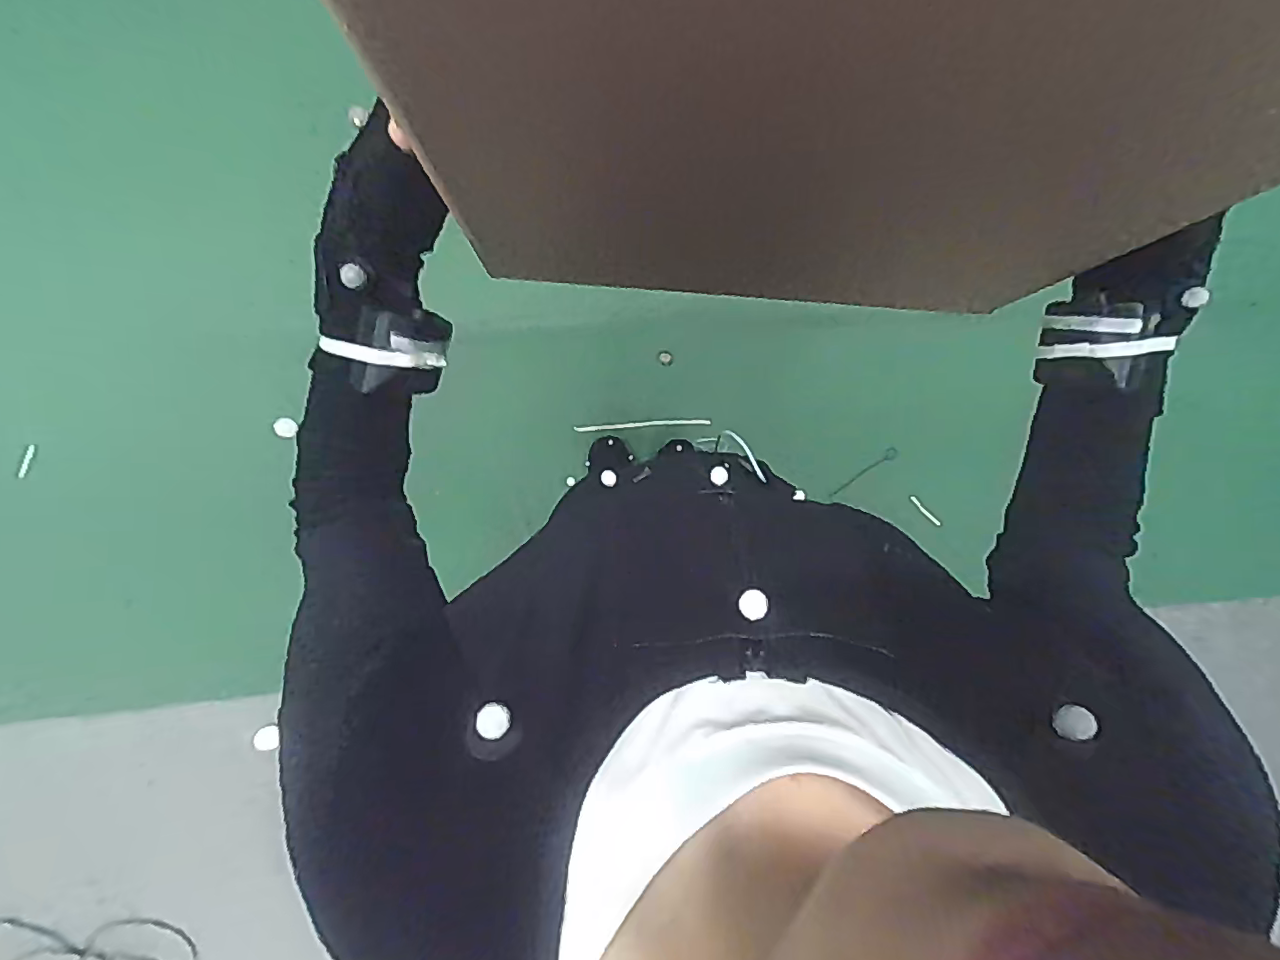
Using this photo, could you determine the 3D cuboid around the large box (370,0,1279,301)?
[{"bbox_3d":[0.102,-0.304,0.280,0.408,0.320,0.320,4,91,-4],"label":"large box"}]
